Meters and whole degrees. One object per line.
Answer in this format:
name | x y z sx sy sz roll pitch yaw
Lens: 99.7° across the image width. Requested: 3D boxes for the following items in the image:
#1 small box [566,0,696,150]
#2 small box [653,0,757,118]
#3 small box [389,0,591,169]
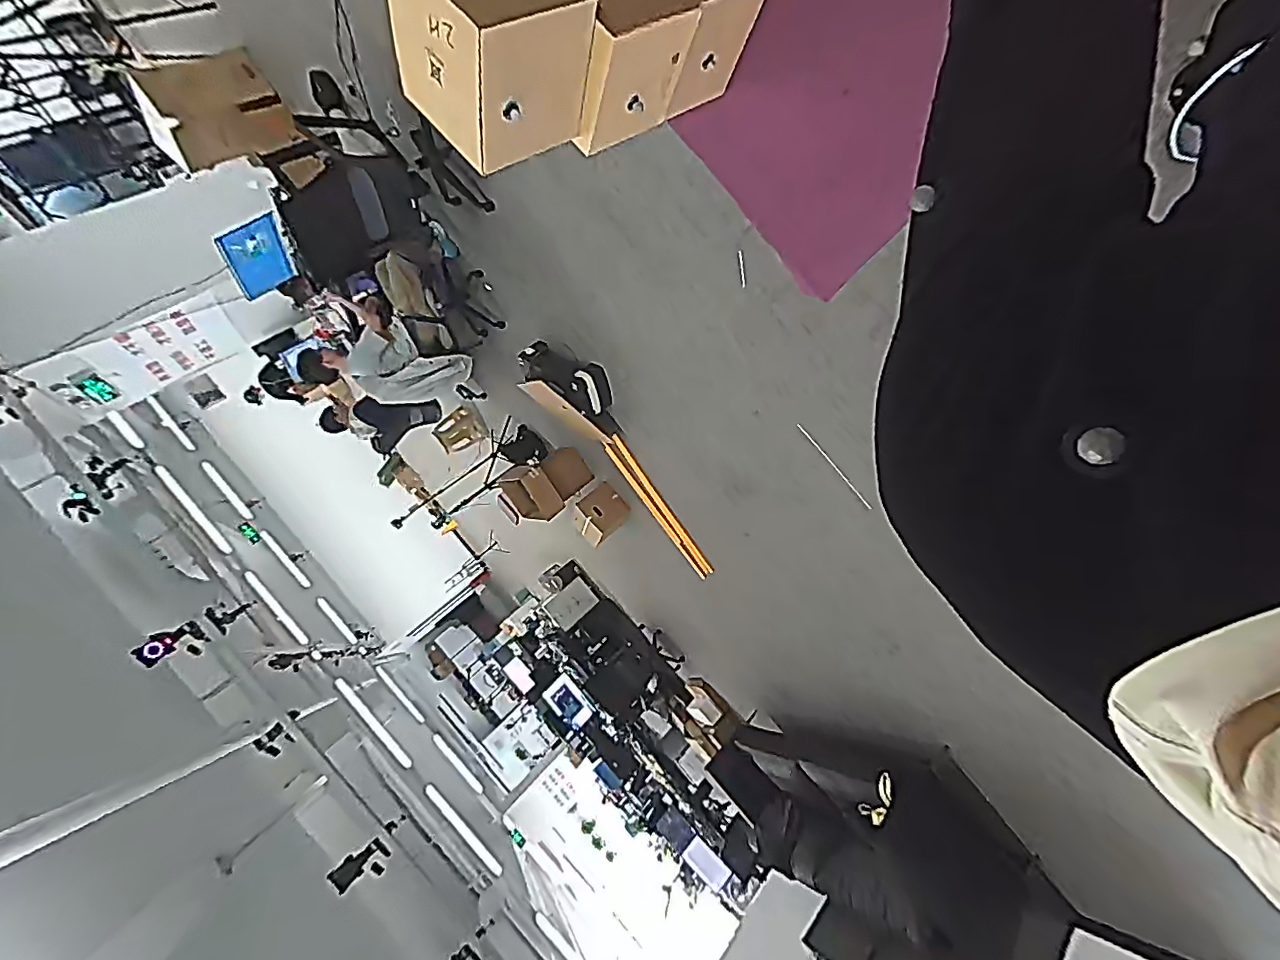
small box | -0.053 -0.608 0.740 0.179 0.176 0.168 49 155 3
small box | 0.053 -0.706 0.814 0.168 0.176 0.179 48 155 3
small box | -0.179 -0.534 0.661 0.168 0.176 0.179 47 154 6
